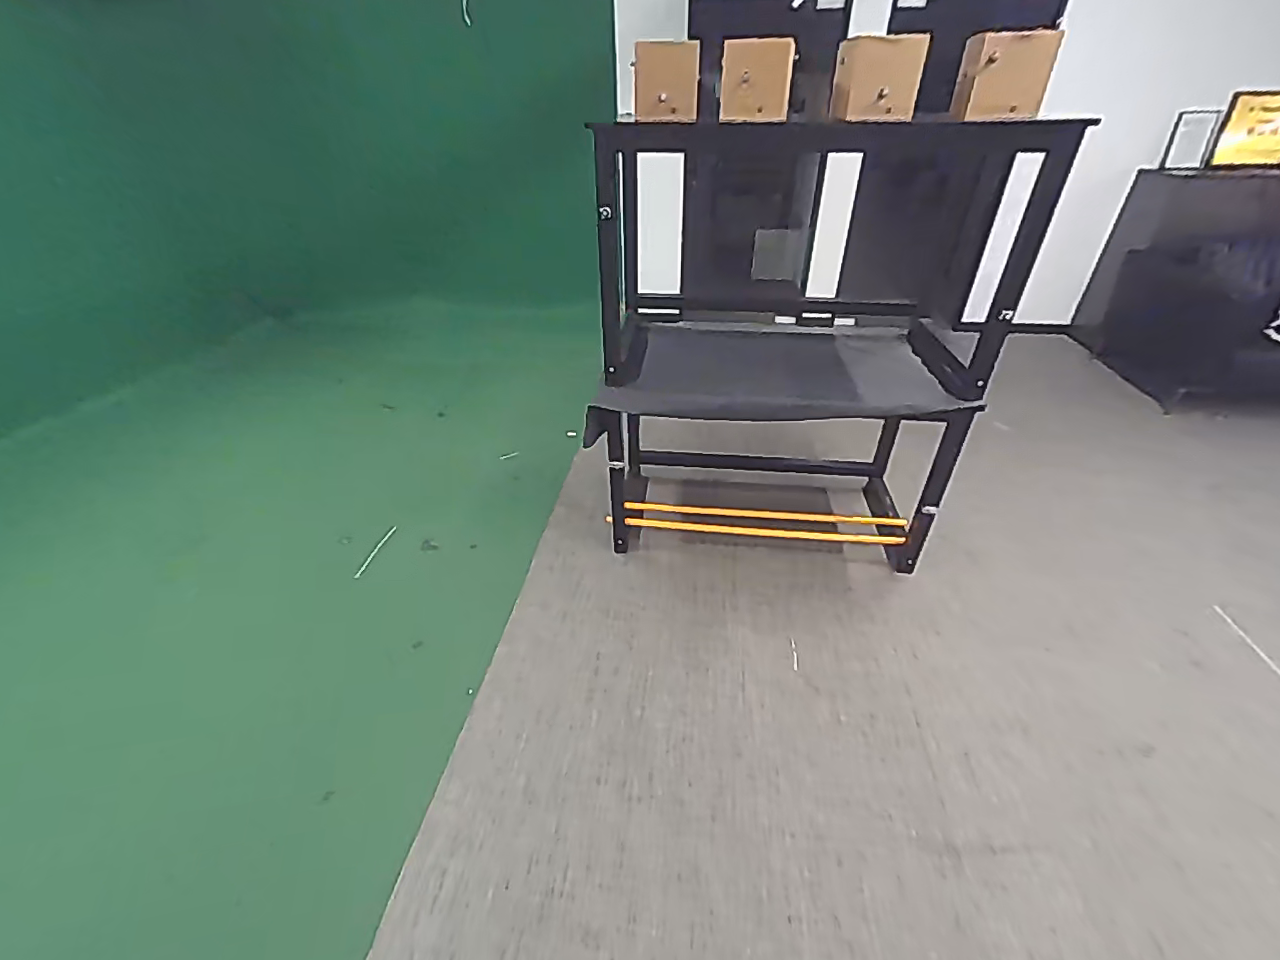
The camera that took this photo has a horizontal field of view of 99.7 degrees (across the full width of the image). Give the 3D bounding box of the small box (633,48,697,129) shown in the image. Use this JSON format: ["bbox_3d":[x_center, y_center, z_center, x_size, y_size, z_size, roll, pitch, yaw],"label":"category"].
[{"bbox_3d":[0.064,-1.064,1.476,0.168,0.176,0.179,0,35,0],"label":"small box"}]

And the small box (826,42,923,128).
[{"bbox_3d":[0.594,-1.015,1.397,0.168,0.176,0.179,0,35,2],"label":"small box"}]
